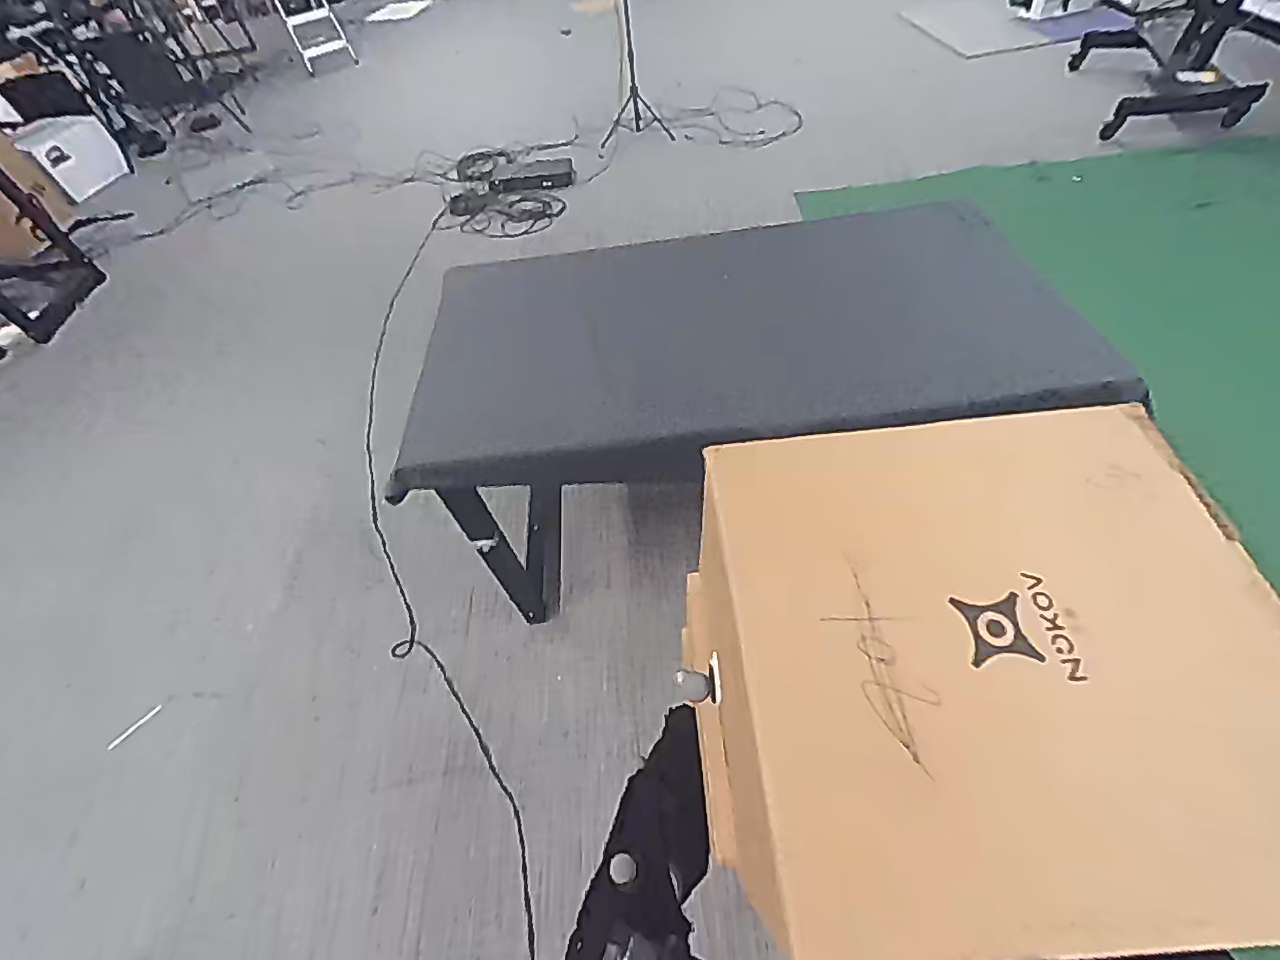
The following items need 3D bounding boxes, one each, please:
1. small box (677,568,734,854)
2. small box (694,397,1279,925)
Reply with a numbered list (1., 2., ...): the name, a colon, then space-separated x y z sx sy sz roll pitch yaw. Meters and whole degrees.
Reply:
1. small box: 0.122 0.163 0.401 0.179 0.176 0.168 -7 60 1
2. small box: 0.122 0.084 0.256 0.179 0.176 0.168 -7 59 2
